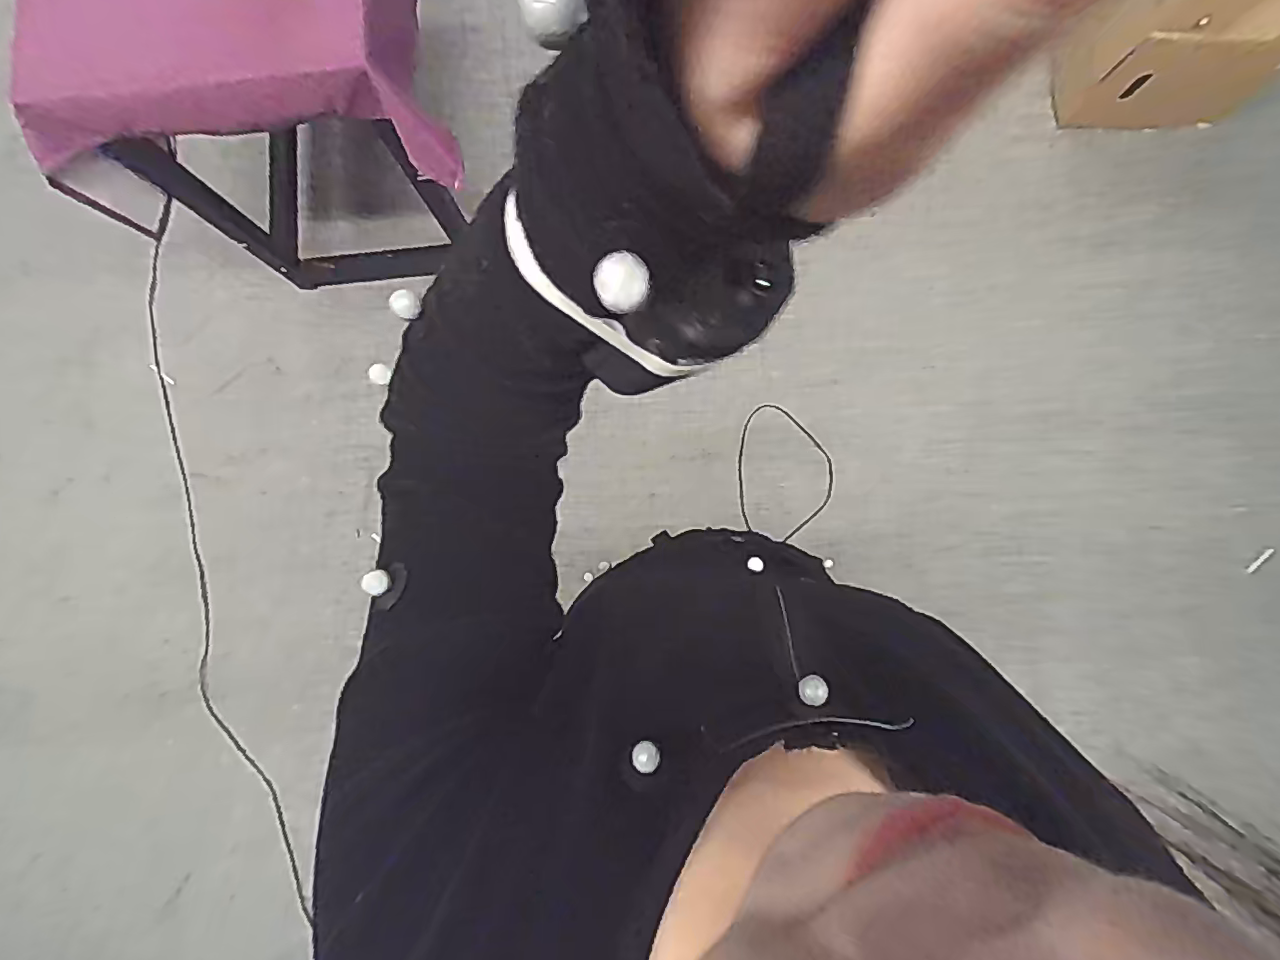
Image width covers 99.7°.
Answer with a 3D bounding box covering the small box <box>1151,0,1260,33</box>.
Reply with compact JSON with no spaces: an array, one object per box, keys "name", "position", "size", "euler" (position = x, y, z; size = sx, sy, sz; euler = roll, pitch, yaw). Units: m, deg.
[{"name":"small box","position":[1.345,-1.183,1.248],"size":[0.179,0.176,0.168],"euler":[4,83,0]}]
